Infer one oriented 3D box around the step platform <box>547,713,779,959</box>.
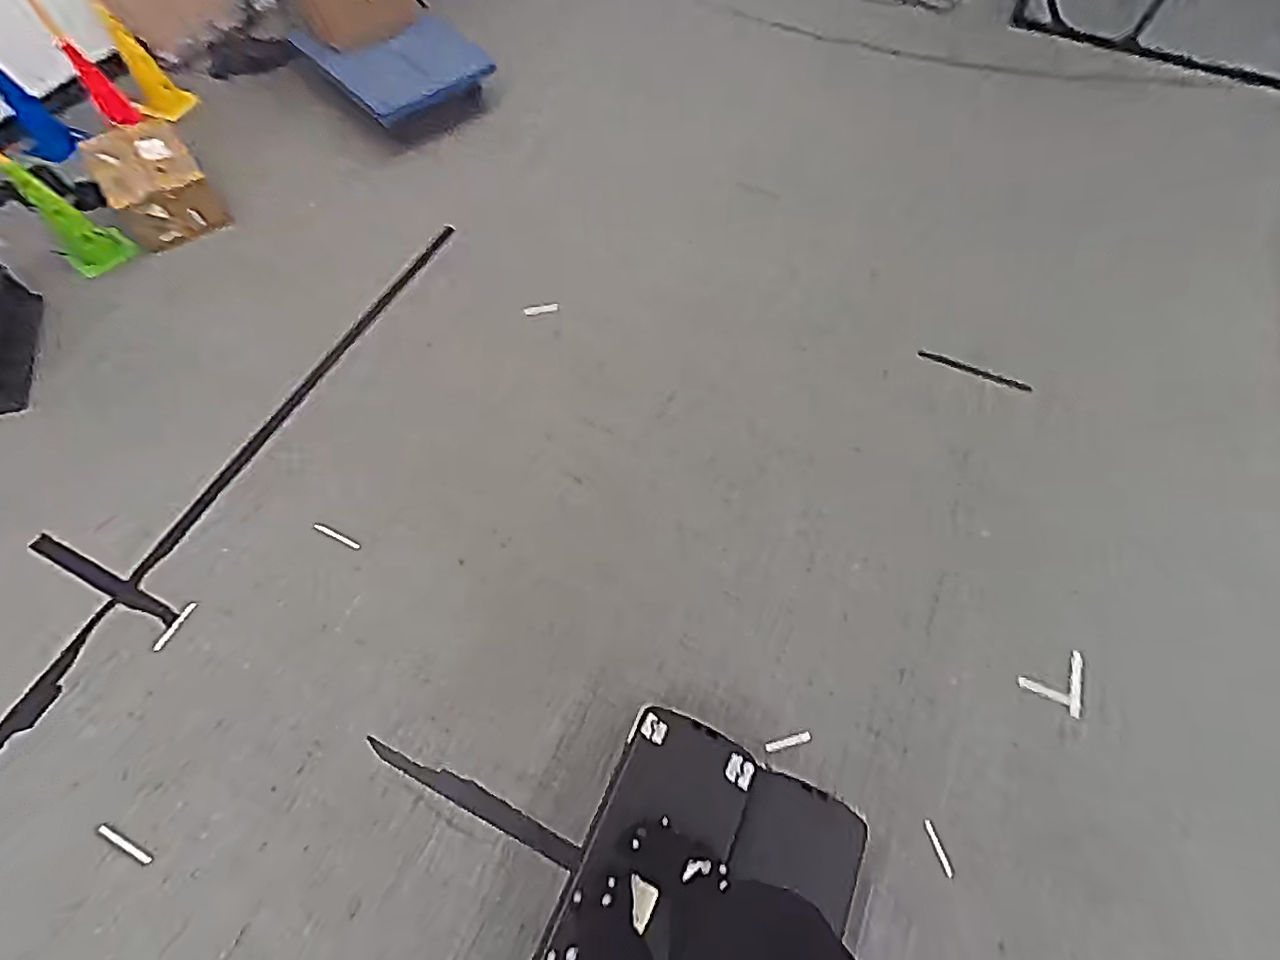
[{"bbox_3d":[0.035,0.863,1.133,0.286,0.204,0.684,27,64,12],"label":"step platform"}]
